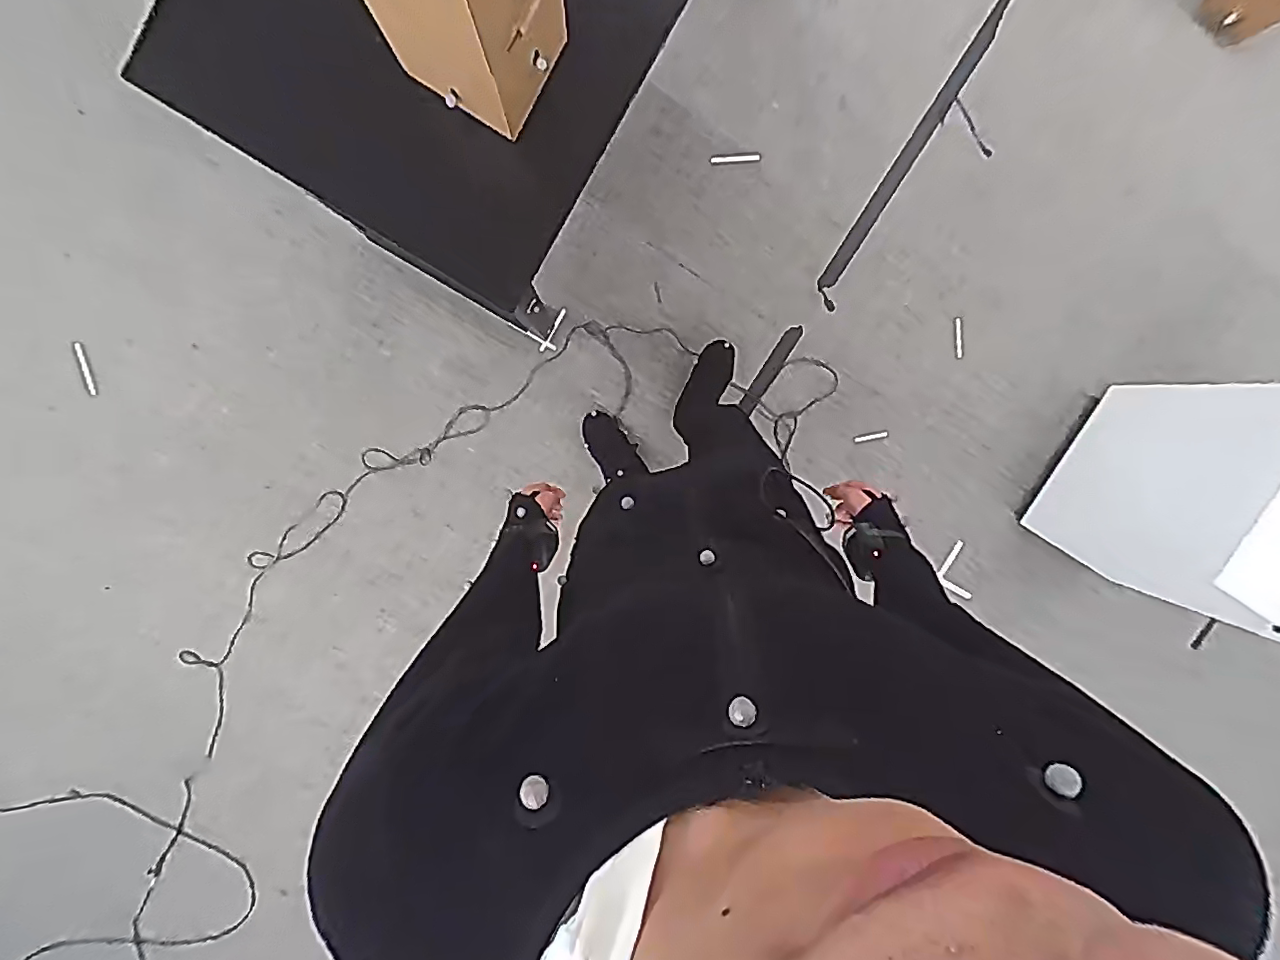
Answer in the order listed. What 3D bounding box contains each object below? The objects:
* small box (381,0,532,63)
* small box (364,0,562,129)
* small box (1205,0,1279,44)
[{"bbox_3d":[-0.198,-0.567,0.527,0.179,0.176,0.168,29,96,-9],"label":"small box"},{"bbox_3d":[-0.211,-0.592,0.690,0.179,0.176,0.168,28,95,-9],"label":"small box"},{"bbox_3d":[1.731,-1.366,1.479,0.168,0.176,0.179,29,97,-8],"label":"small box"}]
